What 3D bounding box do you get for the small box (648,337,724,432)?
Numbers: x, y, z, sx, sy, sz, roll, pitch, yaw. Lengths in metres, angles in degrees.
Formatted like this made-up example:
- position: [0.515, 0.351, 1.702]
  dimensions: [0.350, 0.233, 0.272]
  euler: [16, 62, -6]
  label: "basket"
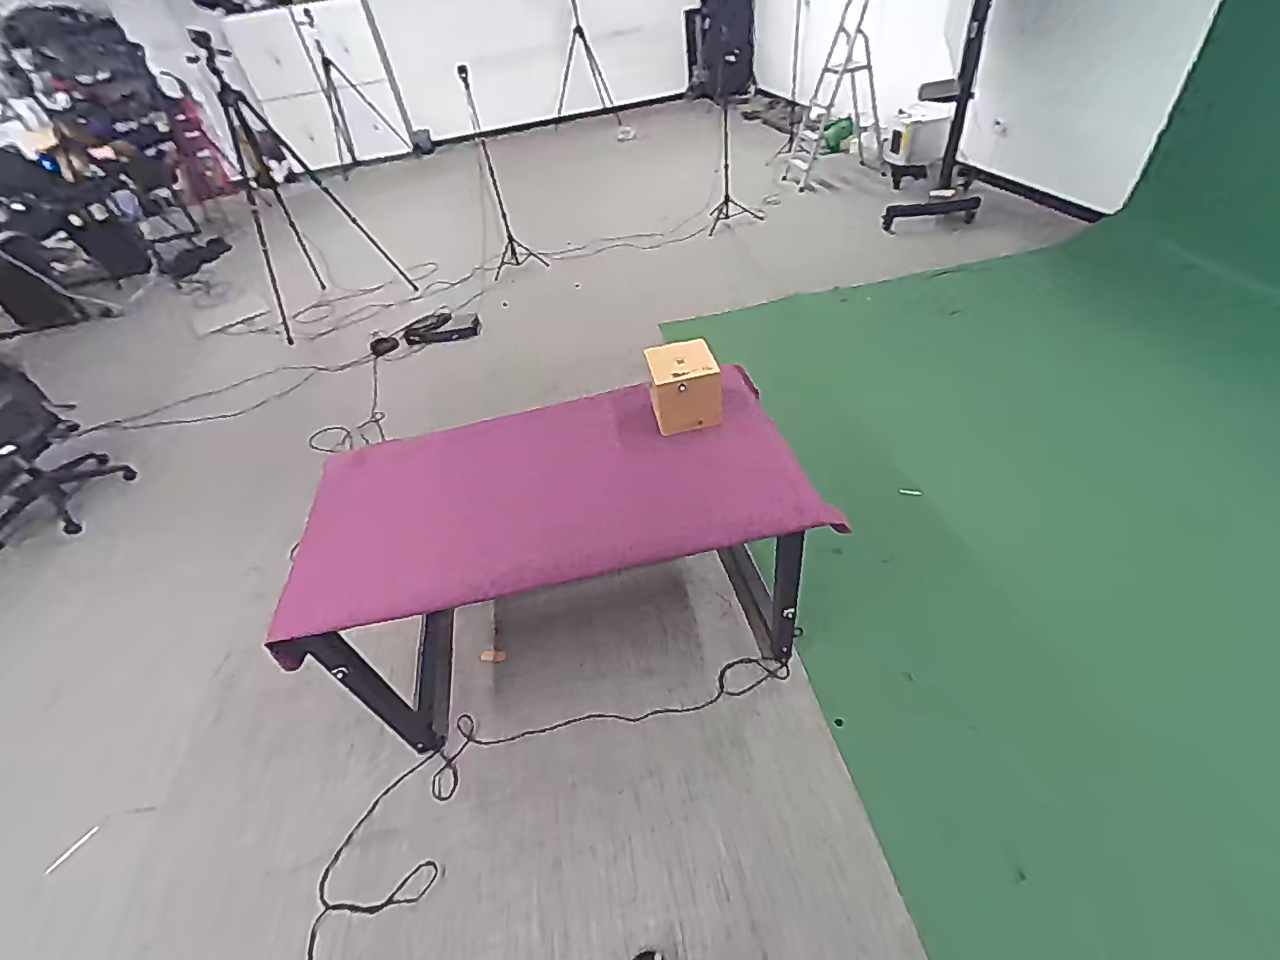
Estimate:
- position: [0.121, -0.253, 1.438]
  dimensions: [0.168, 0.176, 0.179]
  euler: [-12, 43, -1]
  label: "small box"
